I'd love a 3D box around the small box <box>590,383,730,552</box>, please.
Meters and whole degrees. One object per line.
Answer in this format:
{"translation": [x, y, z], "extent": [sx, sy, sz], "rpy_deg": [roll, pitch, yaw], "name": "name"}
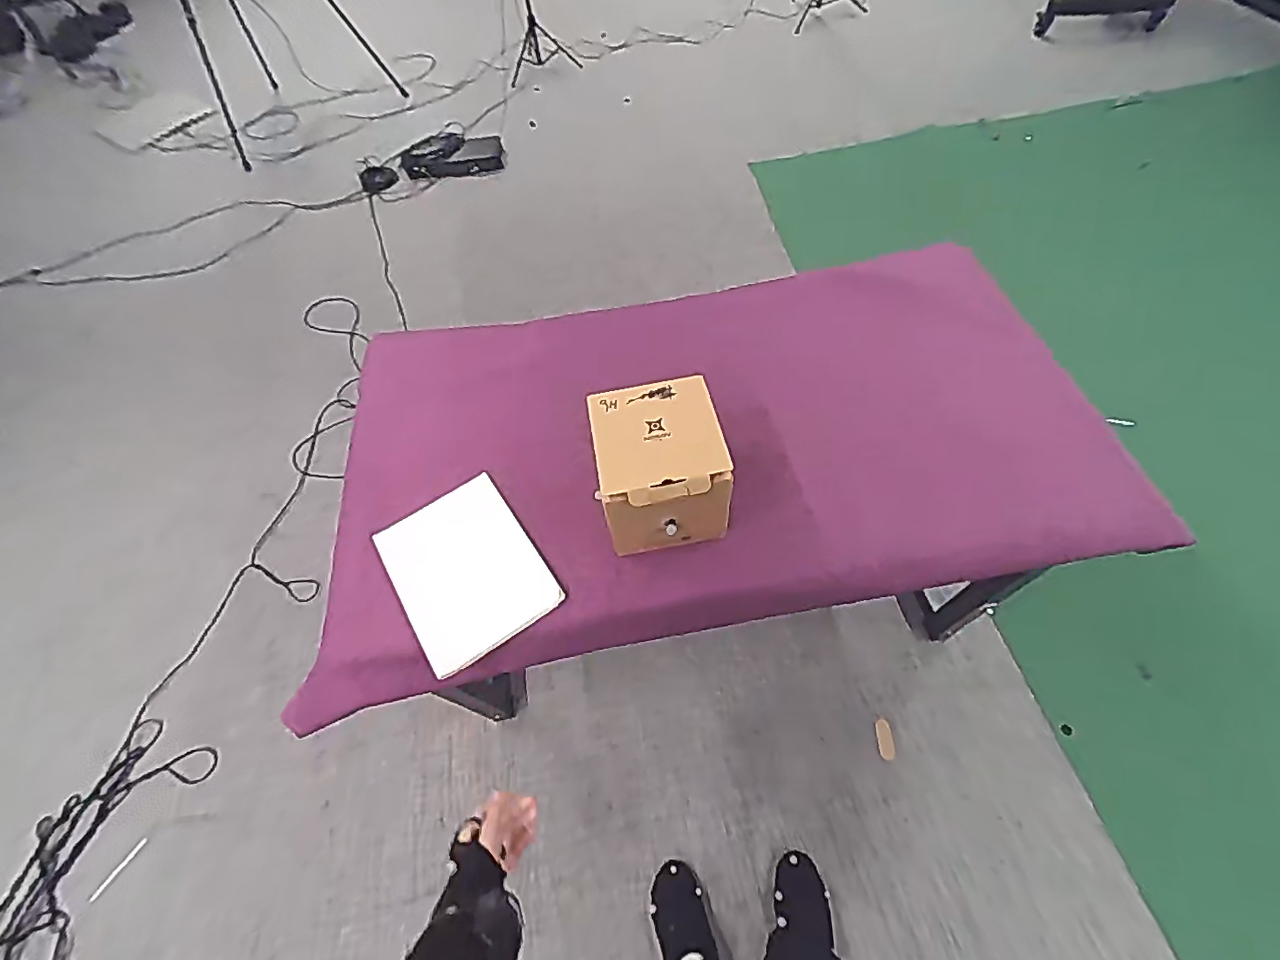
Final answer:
{"translation": [0.028, -0.009, 0.778], "extent": [0.168, 0.176, 0.179], "rpy_deg": [-10, 58, -1], "name": "small box"}
